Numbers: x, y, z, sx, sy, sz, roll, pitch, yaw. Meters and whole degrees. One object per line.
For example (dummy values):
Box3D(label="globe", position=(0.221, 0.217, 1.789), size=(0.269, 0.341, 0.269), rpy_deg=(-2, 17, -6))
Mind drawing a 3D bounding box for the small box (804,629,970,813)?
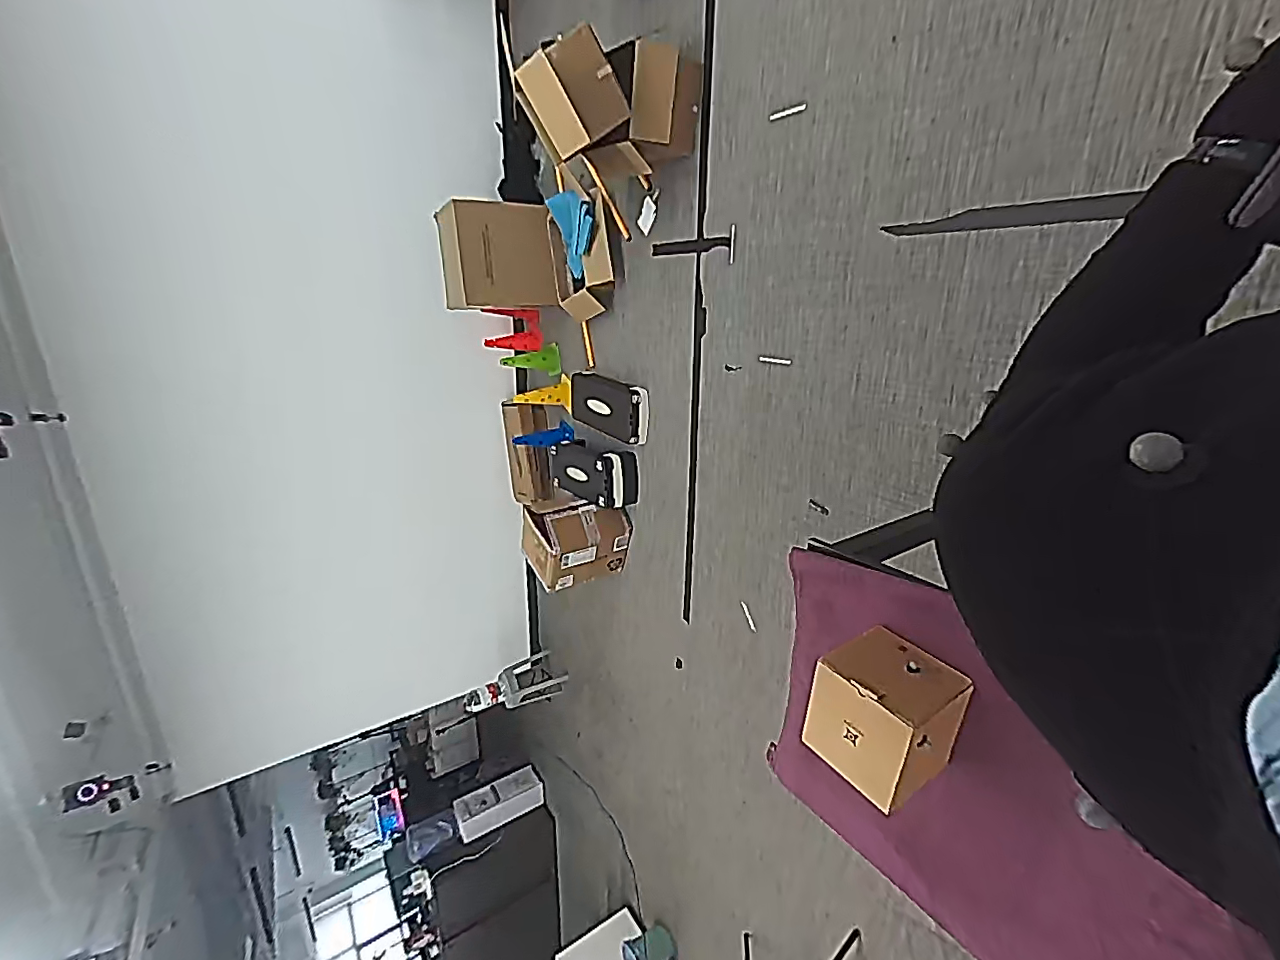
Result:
Box3D(label="small box", position=(0.393, 0.374, 0.868), size=(0.168, 0.176, 0.179), rpy_deg=(30, 125, 50))
